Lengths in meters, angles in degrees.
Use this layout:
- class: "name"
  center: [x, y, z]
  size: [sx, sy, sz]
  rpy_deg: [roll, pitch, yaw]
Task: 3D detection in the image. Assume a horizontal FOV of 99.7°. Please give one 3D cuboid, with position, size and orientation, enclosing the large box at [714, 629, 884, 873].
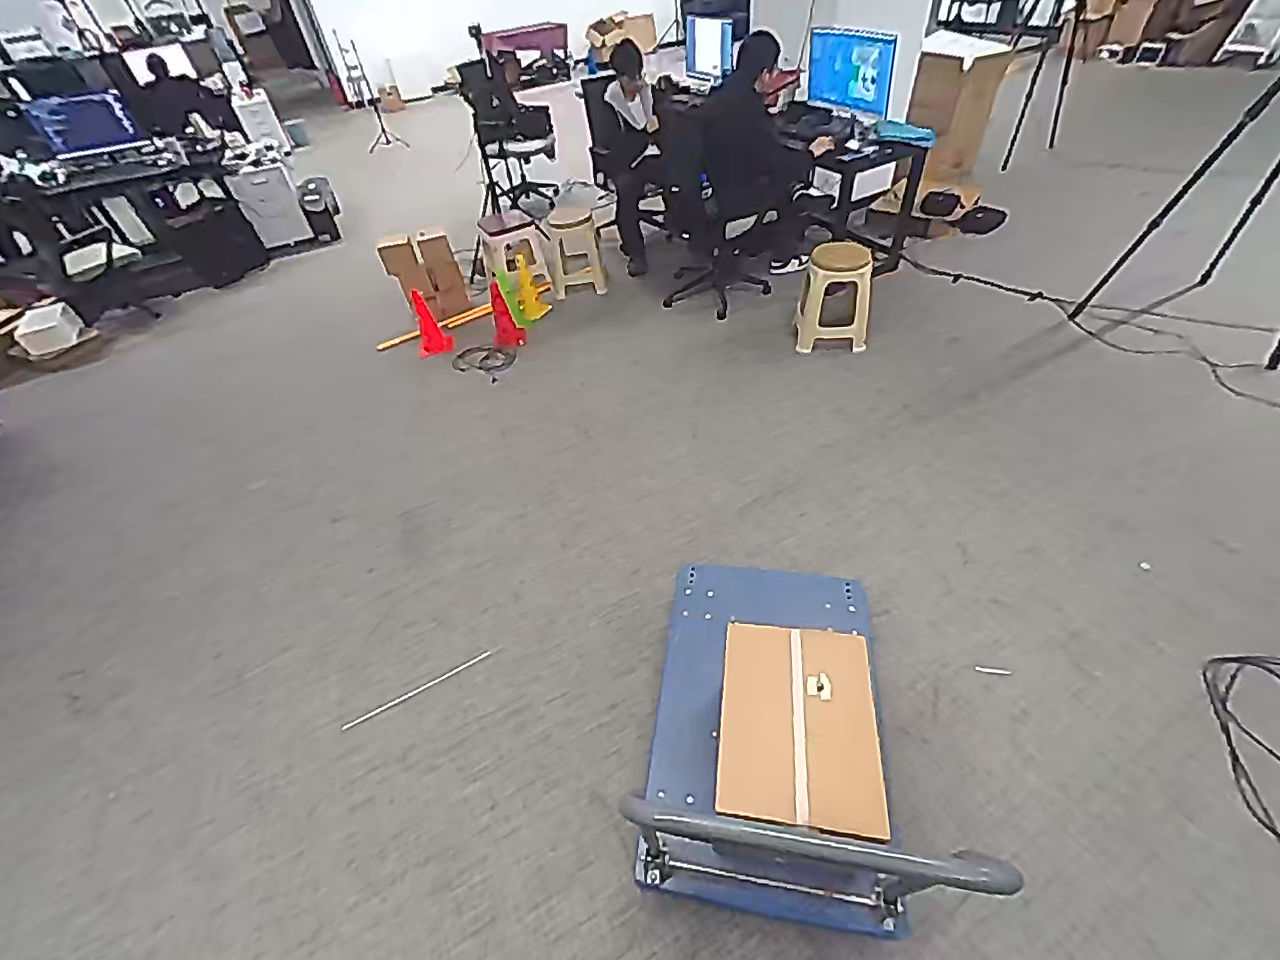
- class: "large box"
  center: [0.336, 0.611, 1.239]
  size: [0.320, 0.320, 0.408]
  rpy_deg: [4, 45, 10]
